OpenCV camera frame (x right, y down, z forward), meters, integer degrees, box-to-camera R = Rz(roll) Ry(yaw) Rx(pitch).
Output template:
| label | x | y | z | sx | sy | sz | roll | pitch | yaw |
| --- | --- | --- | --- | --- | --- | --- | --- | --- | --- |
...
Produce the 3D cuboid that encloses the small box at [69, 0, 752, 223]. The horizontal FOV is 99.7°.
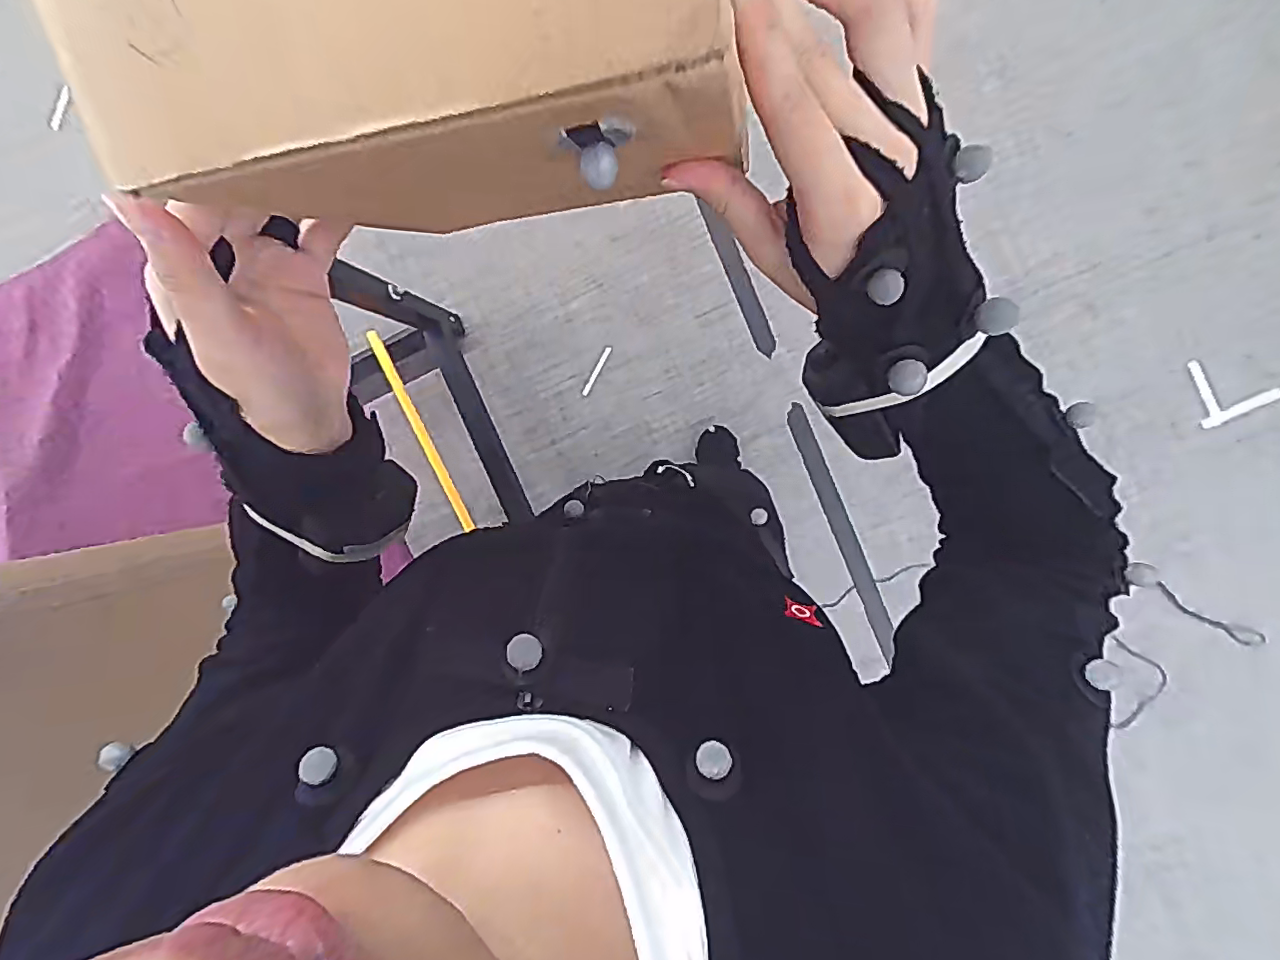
| label | x | y | z | sx | sy | sz | roll | pitch | yaw |
| --- | --- | --- | --- | --- | --- | --- | --- | --- | --- |
| small box | -0.055 | -0.194 | 0.184 | 0.179 | 0.176 | 0.168 | -3 | 110 | 13 |
